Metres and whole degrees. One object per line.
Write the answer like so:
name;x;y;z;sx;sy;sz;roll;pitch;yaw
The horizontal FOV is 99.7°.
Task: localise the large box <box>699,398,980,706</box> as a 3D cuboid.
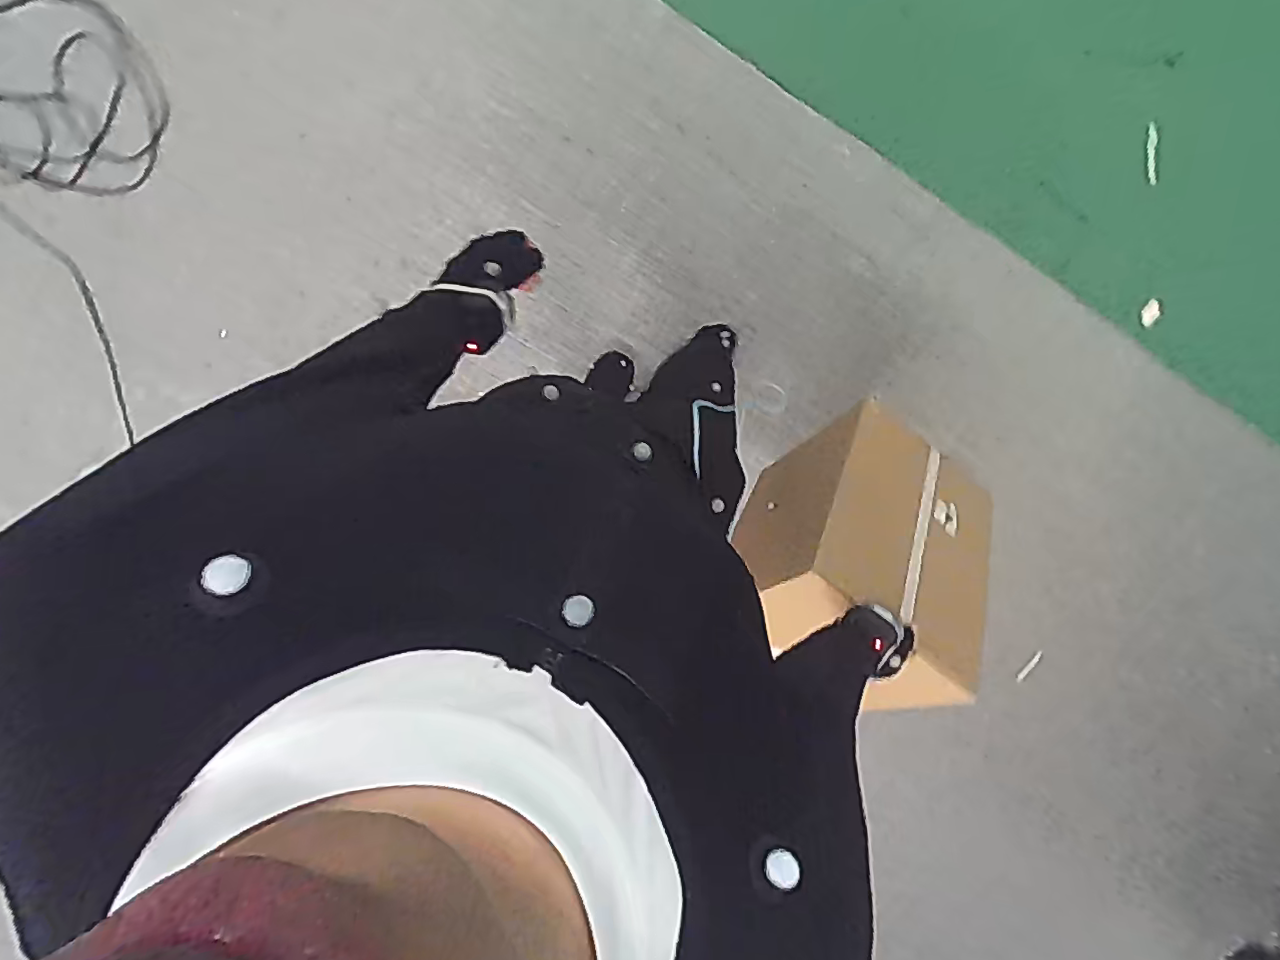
large box;0.366;0.138;0.989;0.320;0.408;0.320;39;142;-7
